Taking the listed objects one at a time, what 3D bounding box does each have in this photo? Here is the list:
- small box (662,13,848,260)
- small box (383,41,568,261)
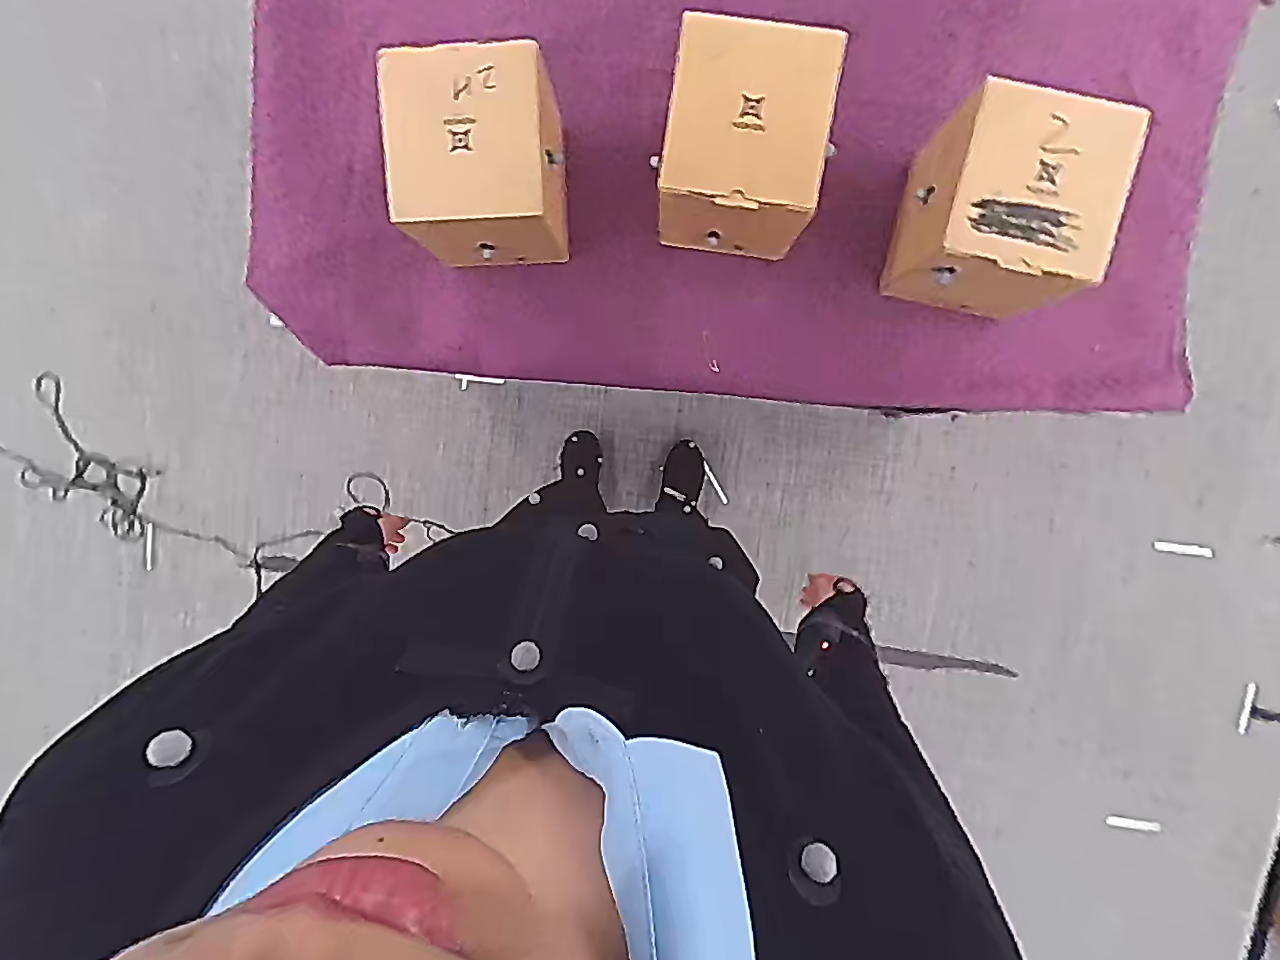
[{"bbox_3d":[0.119,-0.380,0.631,0.168,0.176,0.179,9,96,1],"label":"small box"},{"bbox_3d":[-0.179,-0.368,0.640,0.168,0.176,0.179,-1,95,1],"label":"small box"}]
